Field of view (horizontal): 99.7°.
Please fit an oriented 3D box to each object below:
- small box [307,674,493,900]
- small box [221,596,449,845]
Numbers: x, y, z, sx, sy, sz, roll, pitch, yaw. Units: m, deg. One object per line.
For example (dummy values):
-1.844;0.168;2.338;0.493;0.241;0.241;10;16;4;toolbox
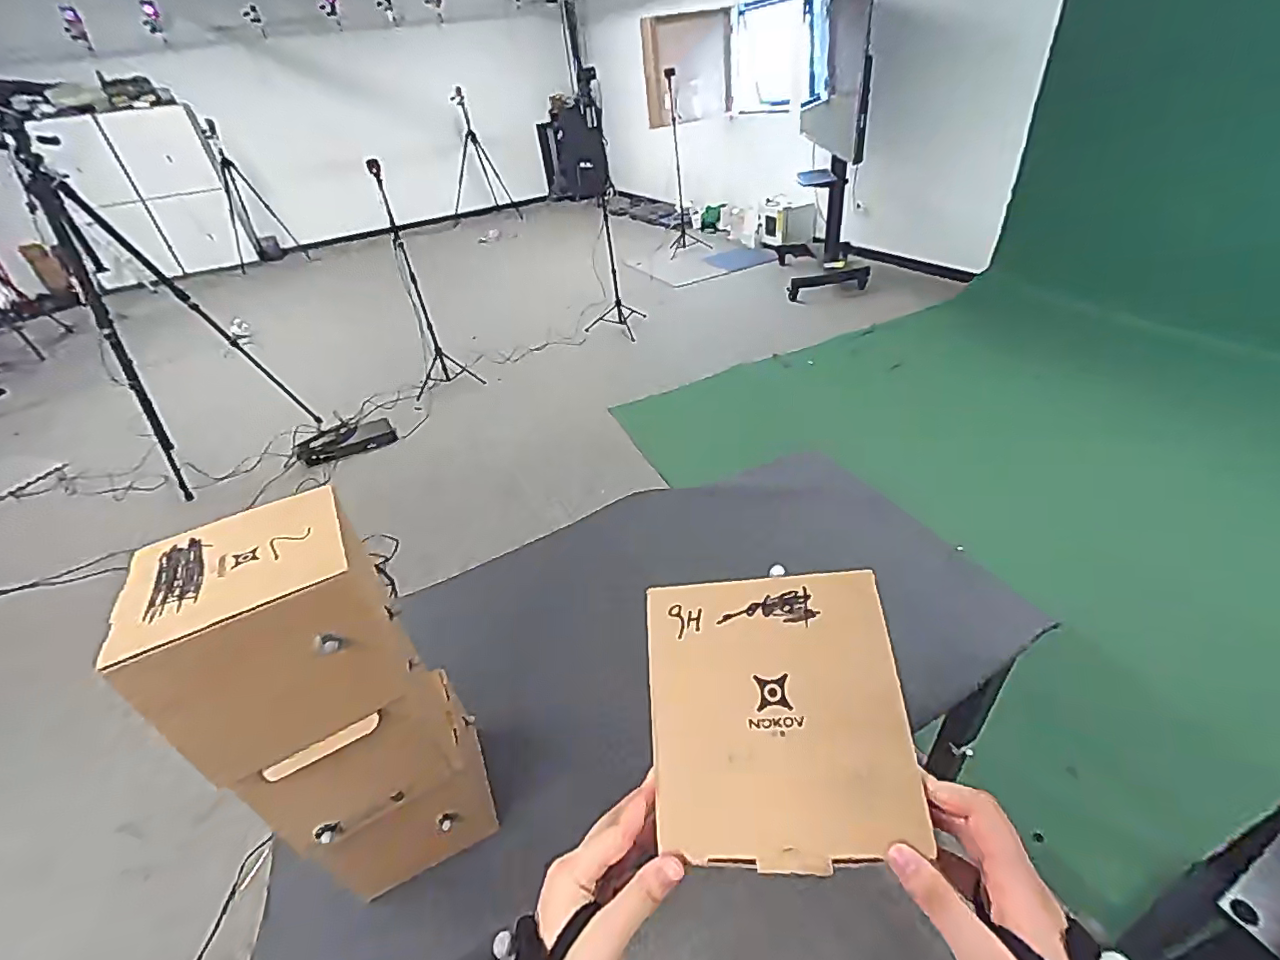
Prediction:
-0.308;0.403;0.719;0.179;0.176;0.168;-22;36;-16;small box
-0.337;0.275;0.619;0.168;0.176;0.179;-23;36;-21;small box
